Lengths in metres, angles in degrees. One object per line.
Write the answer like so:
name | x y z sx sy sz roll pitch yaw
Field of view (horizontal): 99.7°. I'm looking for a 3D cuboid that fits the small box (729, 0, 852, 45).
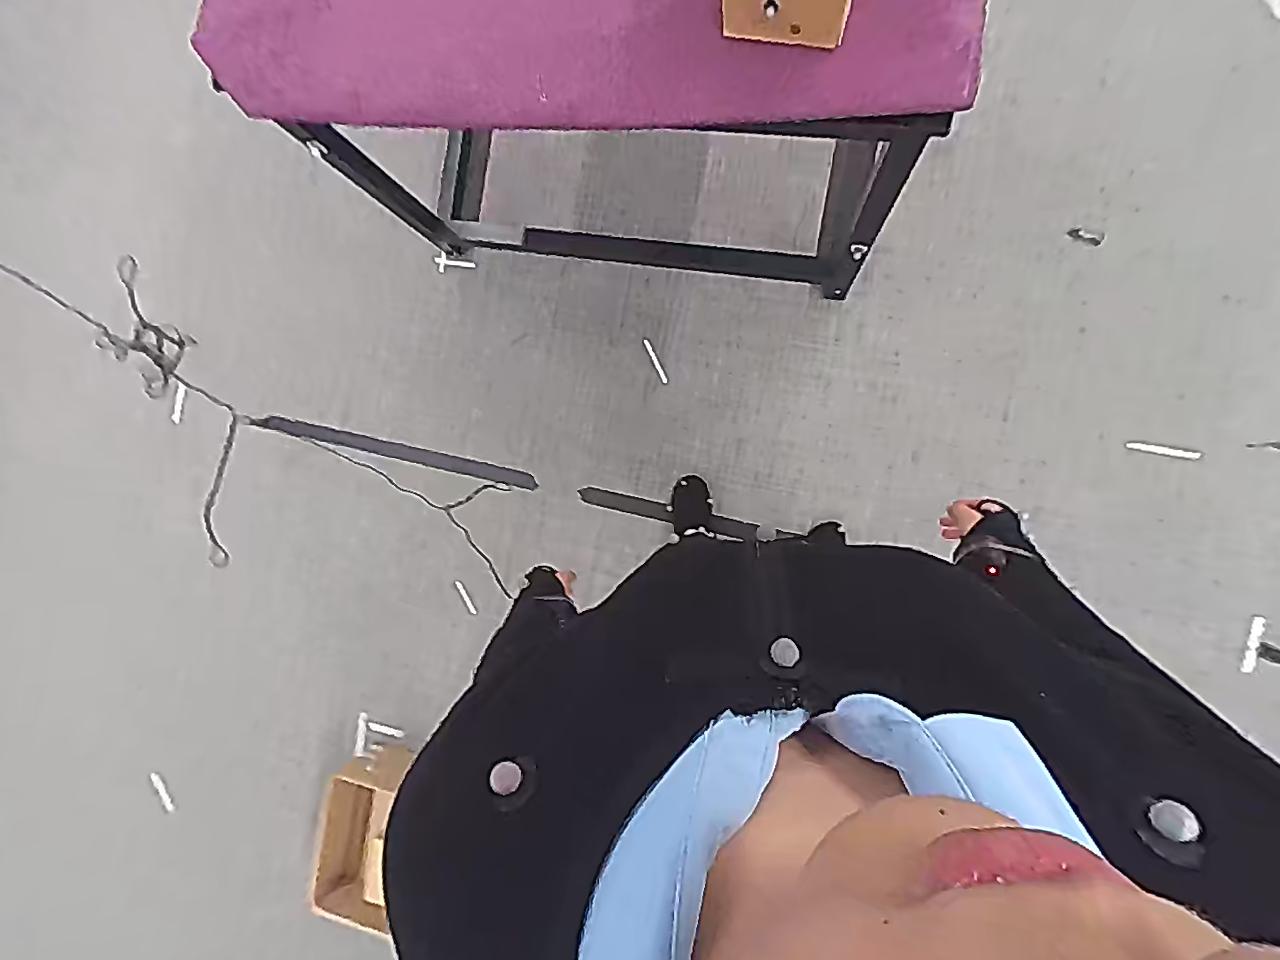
small box | 0.207 -0.707 0.679 0.168 0.176 0.179 15 91 11
